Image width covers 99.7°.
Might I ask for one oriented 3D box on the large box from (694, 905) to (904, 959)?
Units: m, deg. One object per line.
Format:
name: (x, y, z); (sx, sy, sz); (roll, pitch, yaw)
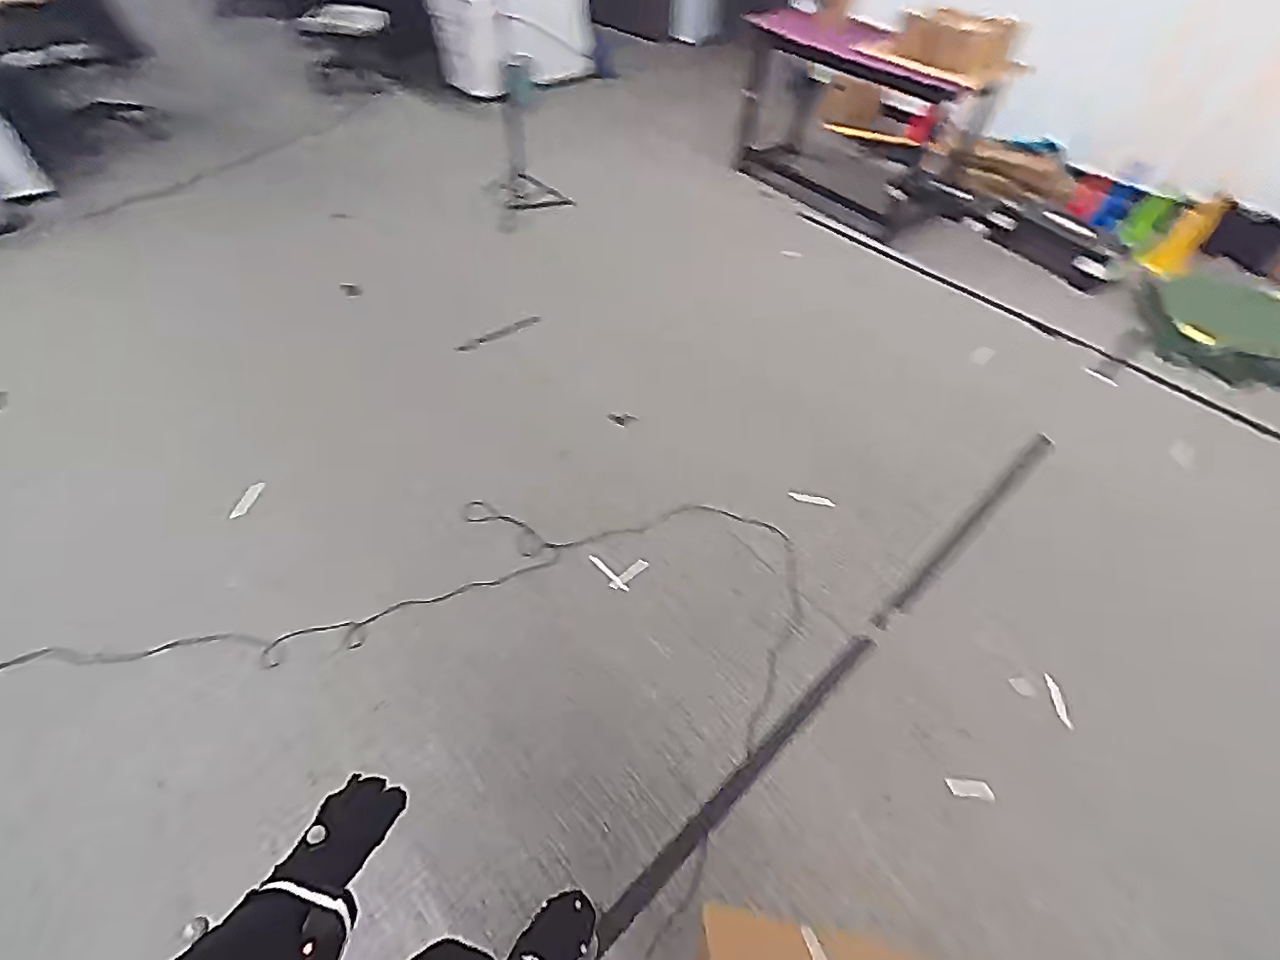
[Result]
large box: (0.209, 0.781, 0.592); (0.320, 0.408, 0.320); (11, 79, 3)
